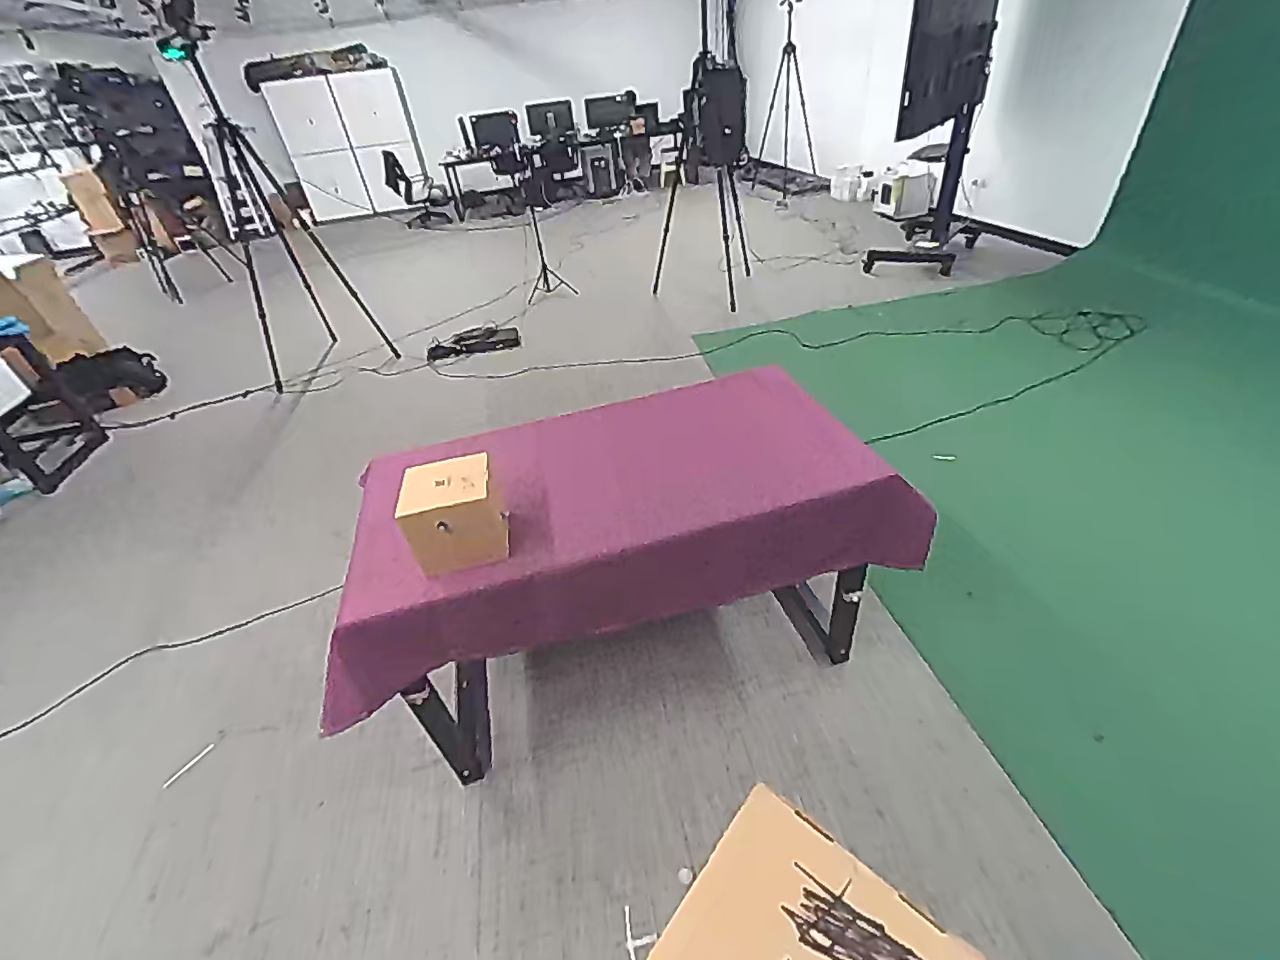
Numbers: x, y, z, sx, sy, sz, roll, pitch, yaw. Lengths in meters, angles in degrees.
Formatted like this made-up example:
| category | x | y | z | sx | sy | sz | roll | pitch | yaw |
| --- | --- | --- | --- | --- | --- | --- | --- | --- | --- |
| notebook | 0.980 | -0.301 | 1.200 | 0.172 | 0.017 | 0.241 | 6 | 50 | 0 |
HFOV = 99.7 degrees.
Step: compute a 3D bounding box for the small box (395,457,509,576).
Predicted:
| category | x | y | z | sx | sy | sz | roll | pitch | yaw |
| --- | --- | --- | --- | --- | --- | --- | --- | --- | --- |
| small box | -0.382 | 0.079 | 1.131 | 0.179 | 0.176 | 0.168 | -12 | 37 | -6 |
